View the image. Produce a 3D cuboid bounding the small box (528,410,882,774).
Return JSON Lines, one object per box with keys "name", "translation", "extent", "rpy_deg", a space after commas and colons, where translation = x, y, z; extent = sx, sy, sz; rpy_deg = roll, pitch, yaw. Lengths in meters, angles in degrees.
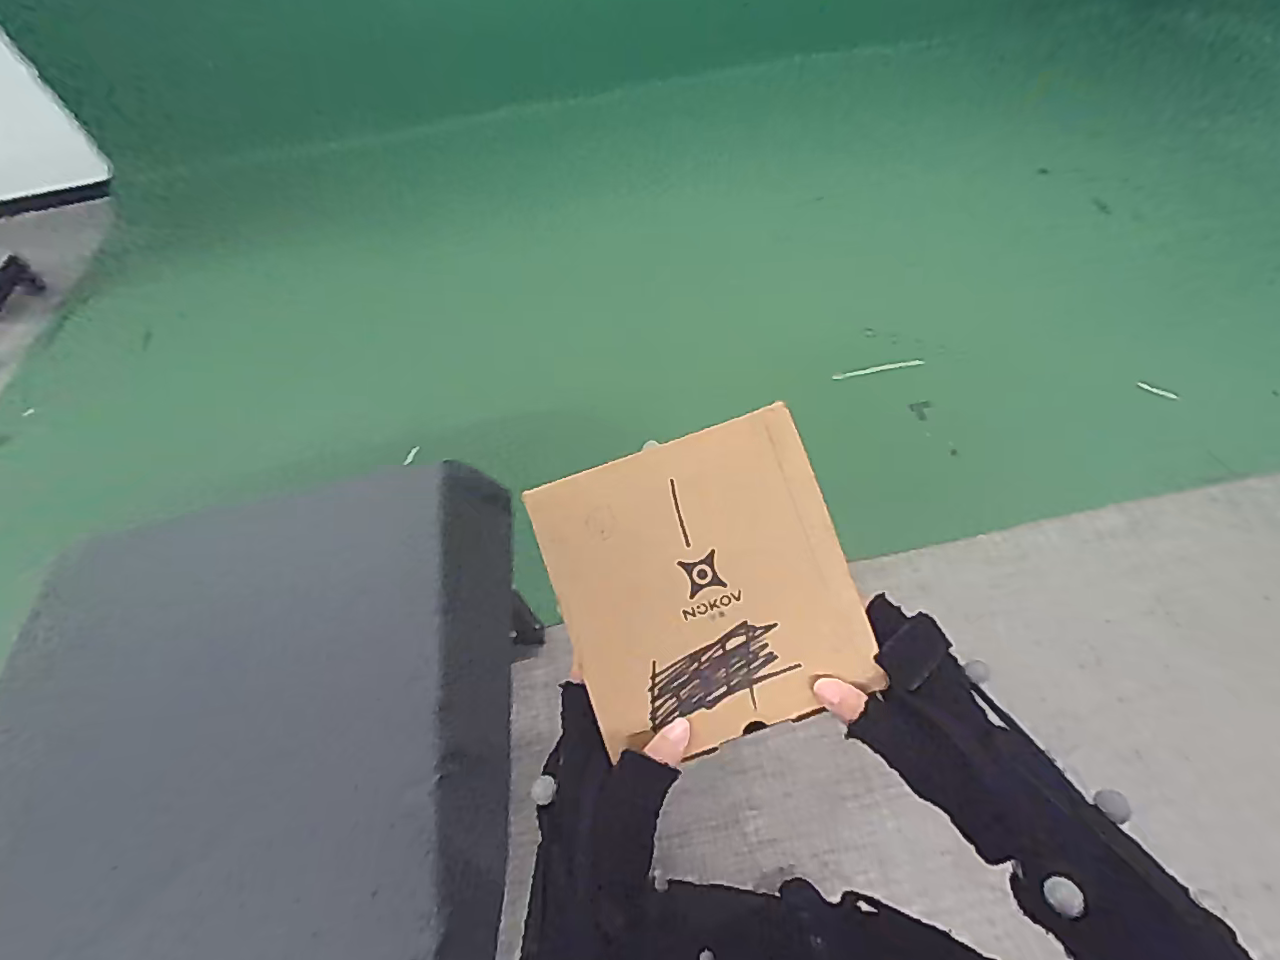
{"name": "small box", "translation": [0.039, 0.068, 0.400], "extent": [0.168, 0.176, 0.179], "rpy_deg": [-22, 87, -1]}
